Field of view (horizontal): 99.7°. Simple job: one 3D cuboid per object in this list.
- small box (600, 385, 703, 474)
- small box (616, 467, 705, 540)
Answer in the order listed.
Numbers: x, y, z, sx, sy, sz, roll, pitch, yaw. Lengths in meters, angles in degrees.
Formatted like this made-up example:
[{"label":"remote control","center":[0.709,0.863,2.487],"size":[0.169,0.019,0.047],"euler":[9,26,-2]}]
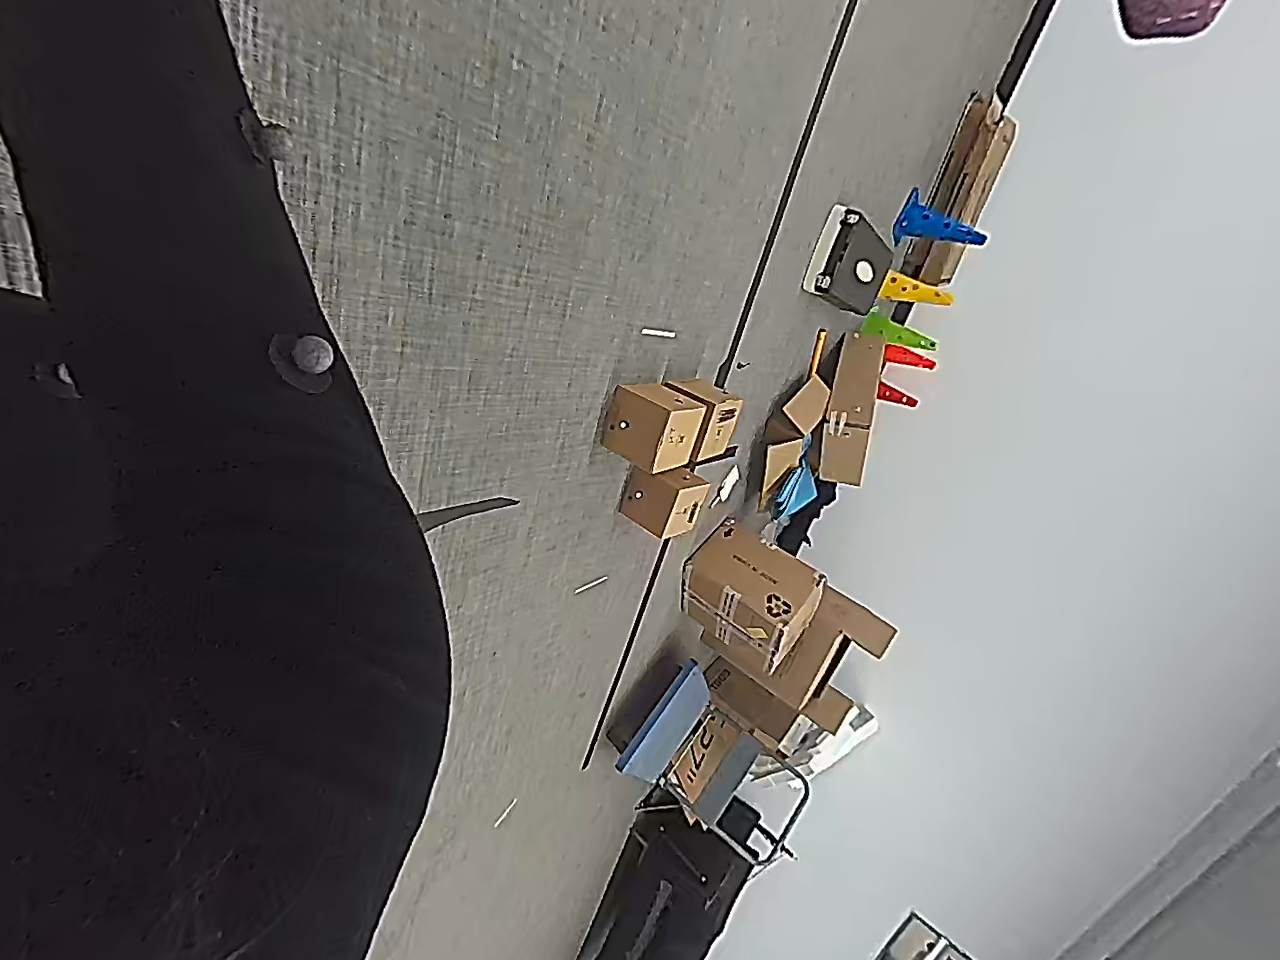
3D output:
[{"label":"small box","center":[0.028,-0.136,1.373],"size":[0.179,0.176,0.168],"euler":[-16,129,-53]},{"label":"small box","center":[0.060,0.053,1.616],"size":[0.179,0.176,0.168],"euler":[-11,126,-55]}]
